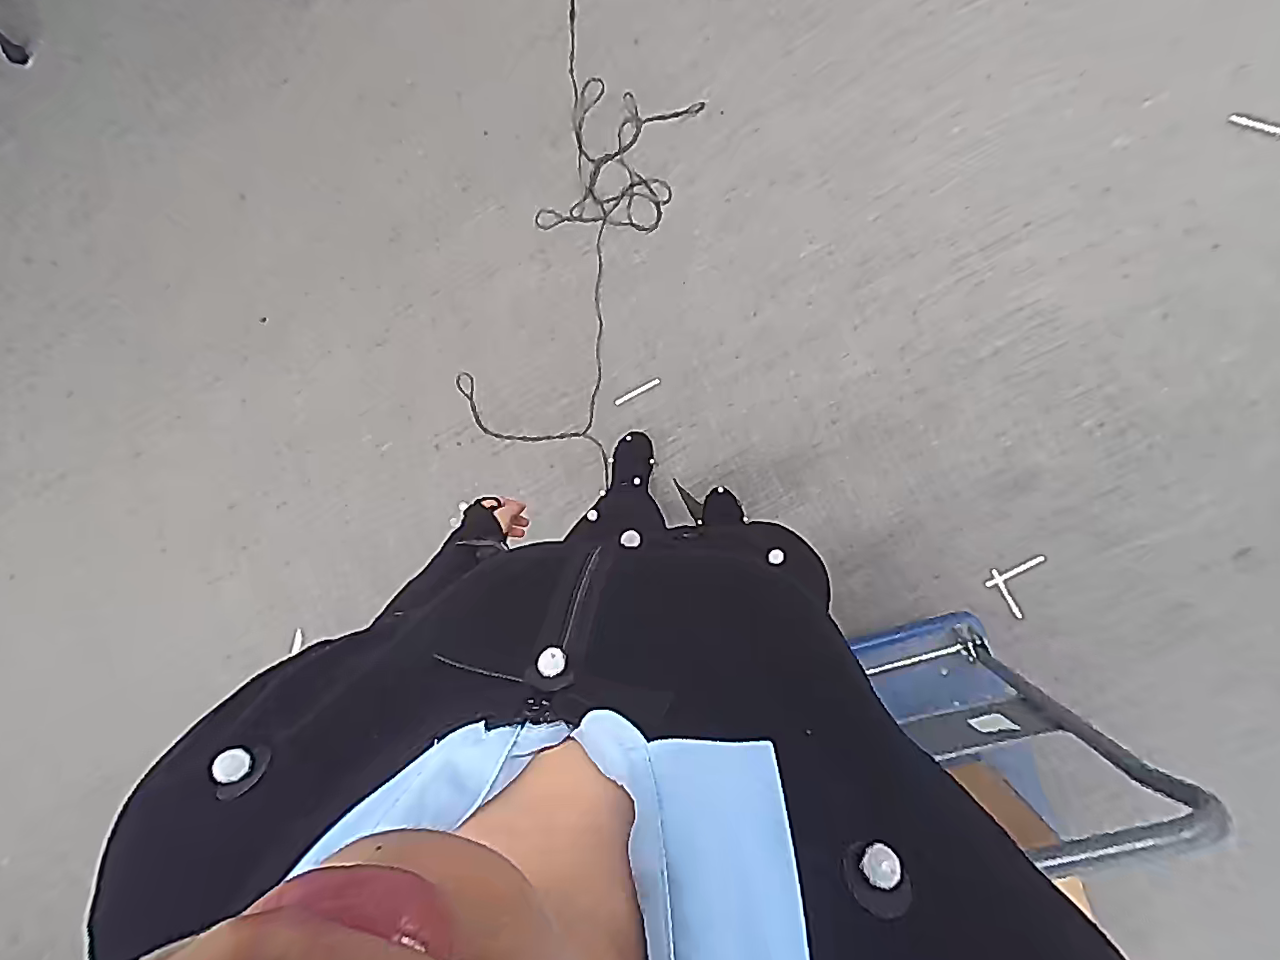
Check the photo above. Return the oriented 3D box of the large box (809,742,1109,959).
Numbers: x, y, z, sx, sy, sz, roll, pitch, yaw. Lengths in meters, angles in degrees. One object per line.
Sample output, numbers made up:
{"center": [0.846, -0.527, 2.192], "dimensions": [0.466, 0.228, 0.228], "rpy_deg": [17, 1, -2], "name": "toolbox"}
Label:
{"center": [0.614, 0.802, 1.112], "dimensions": [0.408, 0.320, 0.320], "rpy_deg": [-18, 88, 7], "name": "large box"}
